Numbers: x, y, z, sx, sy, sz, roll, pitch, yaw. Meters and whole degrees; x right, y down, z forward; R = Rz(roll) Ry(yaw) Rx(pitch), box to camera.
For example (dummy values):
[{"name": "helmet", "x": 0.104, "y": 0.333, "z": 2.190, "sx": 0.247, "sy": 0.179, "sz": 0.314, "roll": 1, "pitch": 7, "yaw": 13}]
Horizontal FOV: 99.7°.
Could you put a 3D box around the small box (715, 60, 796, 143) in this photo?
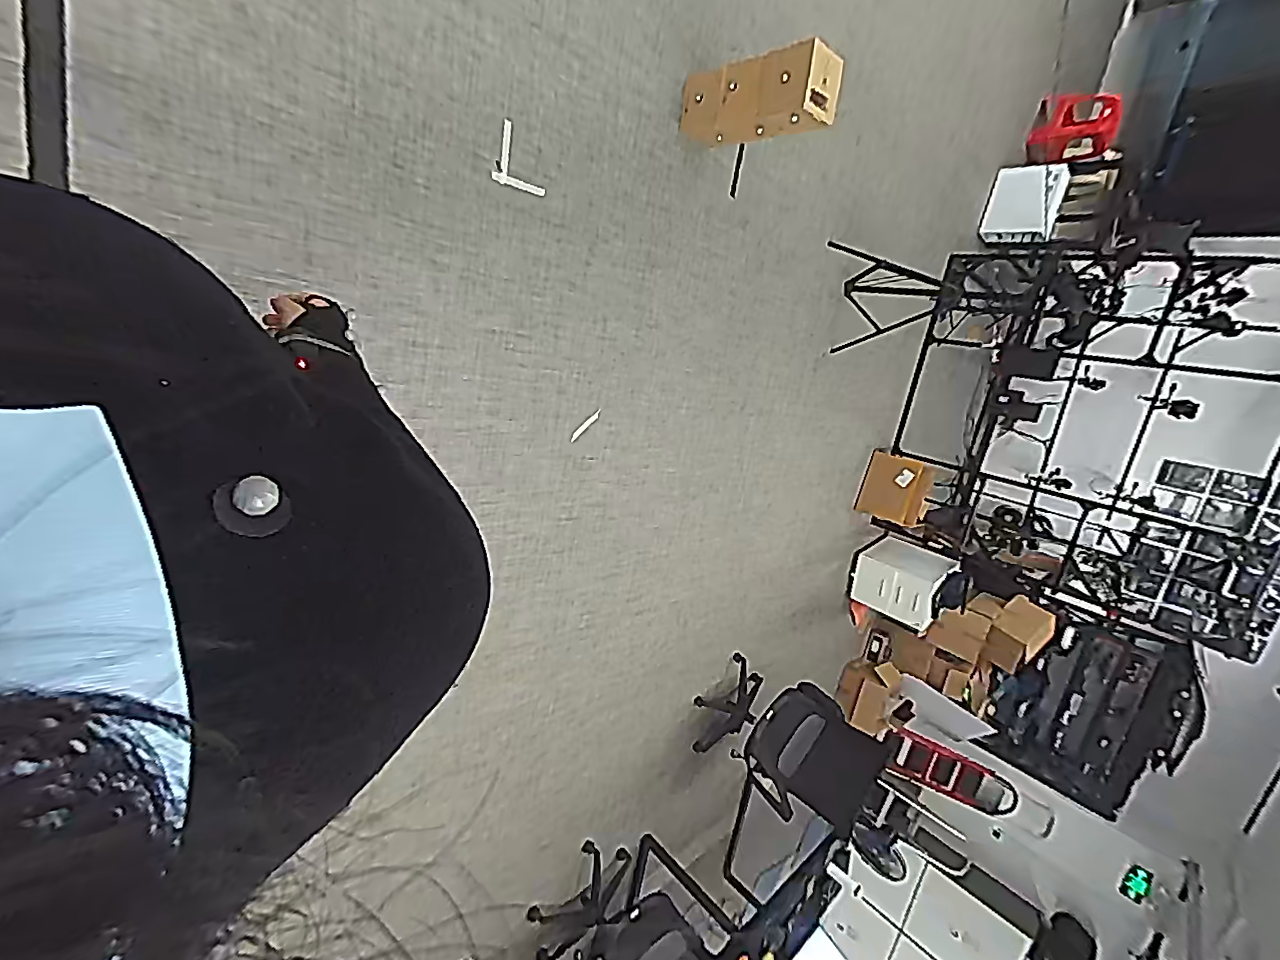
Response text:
[{"name": "small box", "x": 0.369, "y": -1.209, "z": 1.744, "sx": 0.179, "sy": 0.176, "sz": 0.168, "roll": -5, "pitch": 110, "yaw": -43}]

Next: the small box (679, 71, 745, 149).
[{"name": "small box", "x": 0.257, "y": -1.256, "z": 1.853, "sx": 0.179, "sy": 0.176, "sz": 0.168, "roll": -8, "pitch": 112, "yaw": -44}]
